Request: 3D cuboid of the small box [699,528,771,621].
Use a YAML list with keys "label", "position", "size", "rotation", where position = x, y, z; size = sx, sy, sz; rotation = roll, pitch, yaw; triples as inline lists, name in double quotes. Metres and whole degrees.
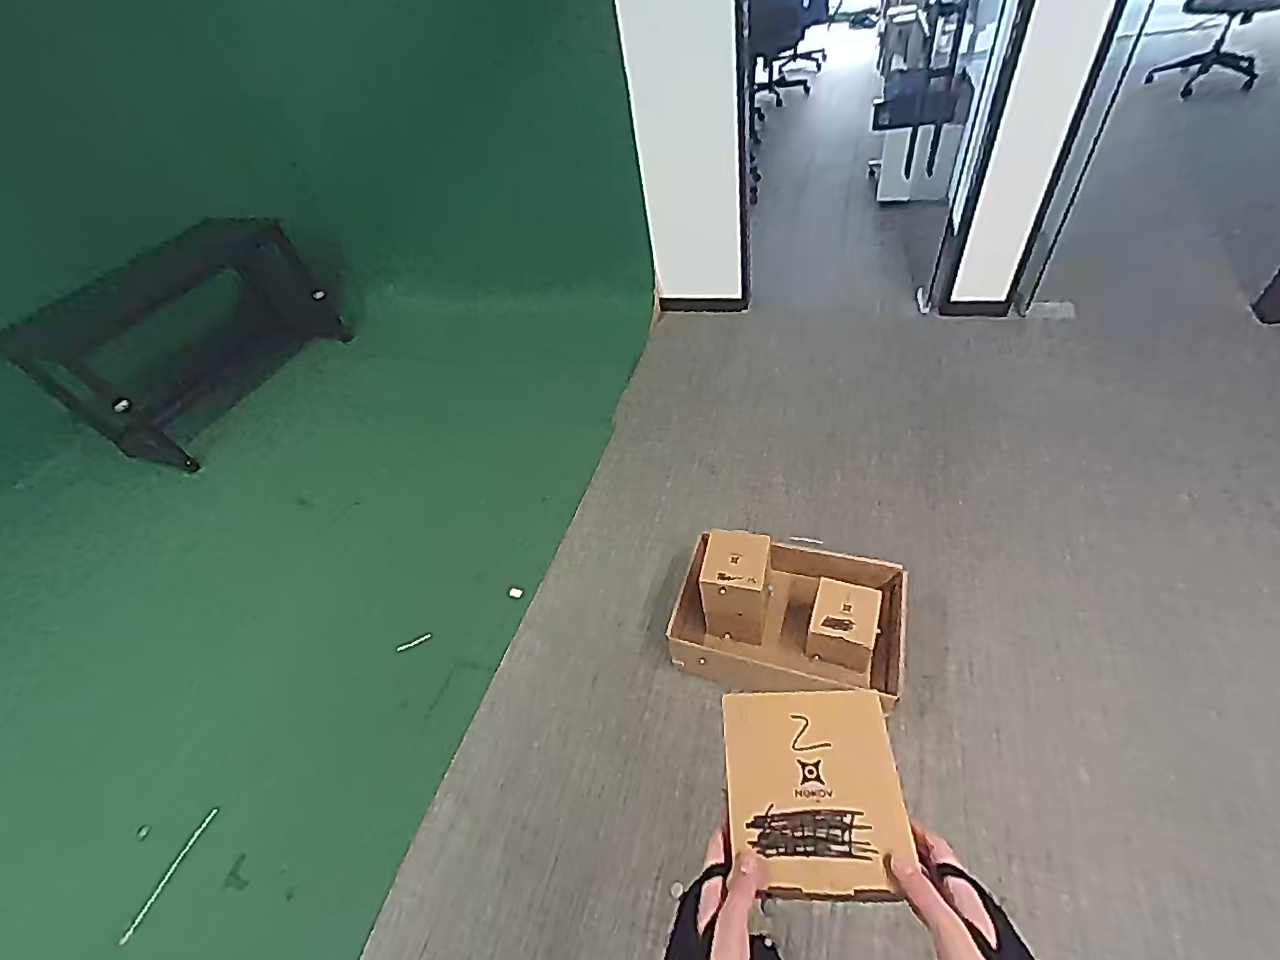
- label: "small box"
  position: [0.265, 0.261, 1.496]
  size: [0.168, 0.176, 0.179]
  rotation: [7, 50, 18]
